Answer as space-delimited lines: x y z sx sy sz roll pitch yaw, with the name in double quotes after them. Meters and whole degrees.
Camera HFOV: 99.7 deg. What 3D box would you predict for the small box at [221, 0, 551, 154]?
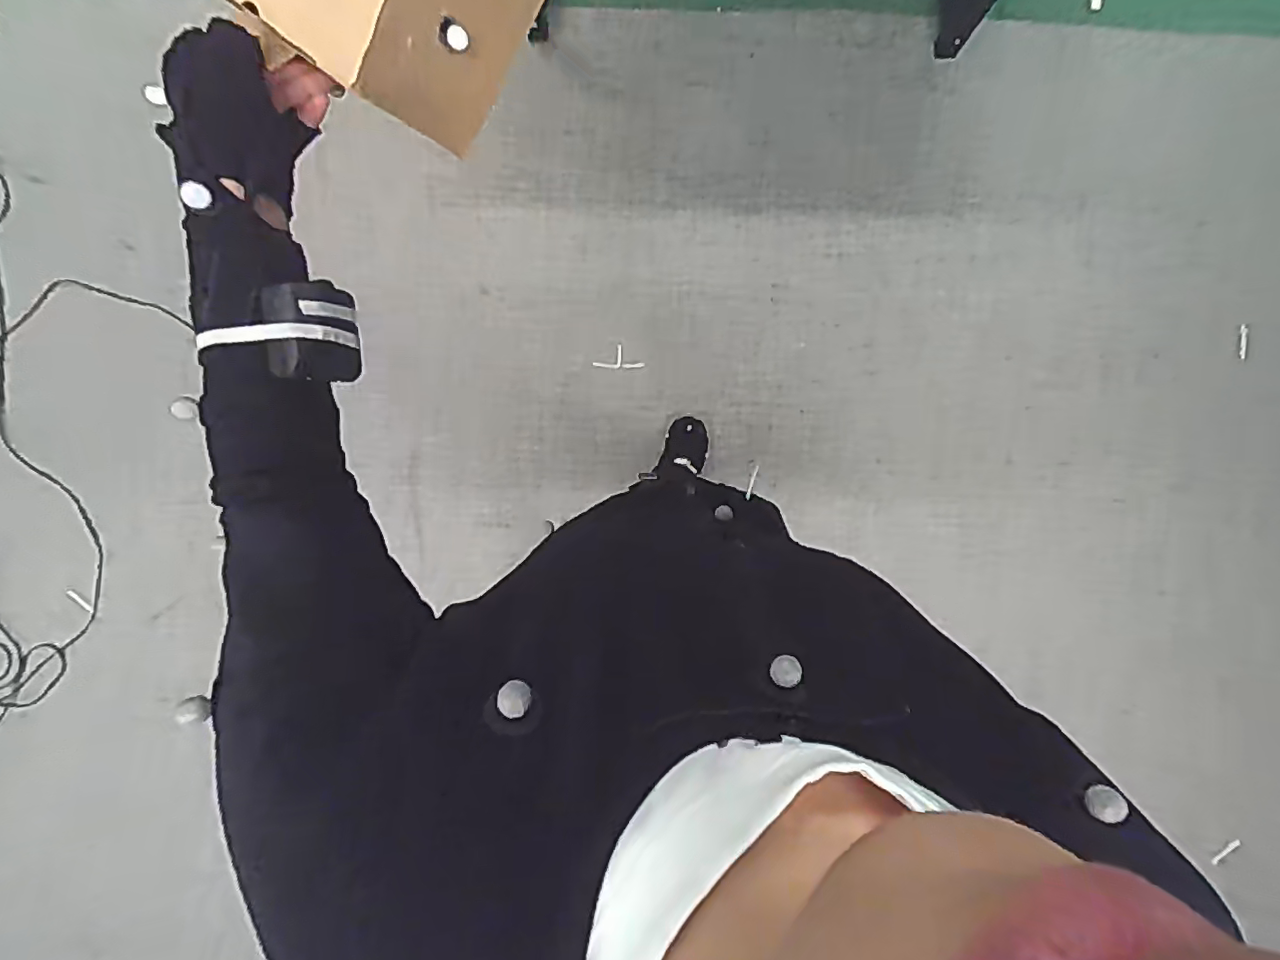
-0.191 -0.391 0.412 0.168 0.176 0.179 36 109 -3 "small box"
